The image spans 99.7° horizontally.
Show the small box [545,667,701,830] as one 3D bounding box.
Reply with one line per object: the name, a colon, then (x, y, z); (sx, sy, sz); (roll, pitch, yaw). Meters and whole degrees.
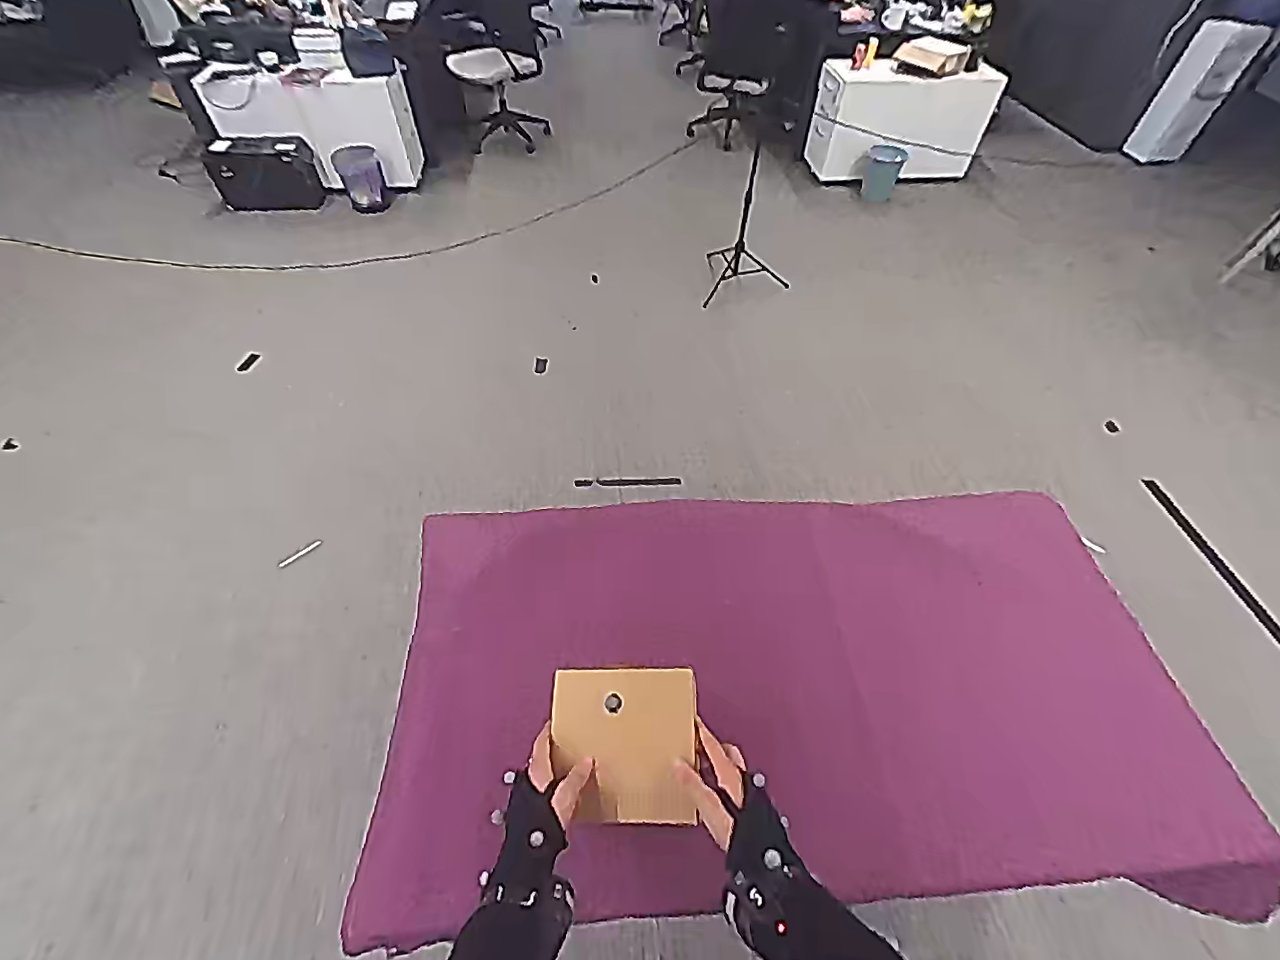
small box: (-0.015, 0.348, 0.697); (0.179, 0.168, 0.176); (-3, 59, 6)
